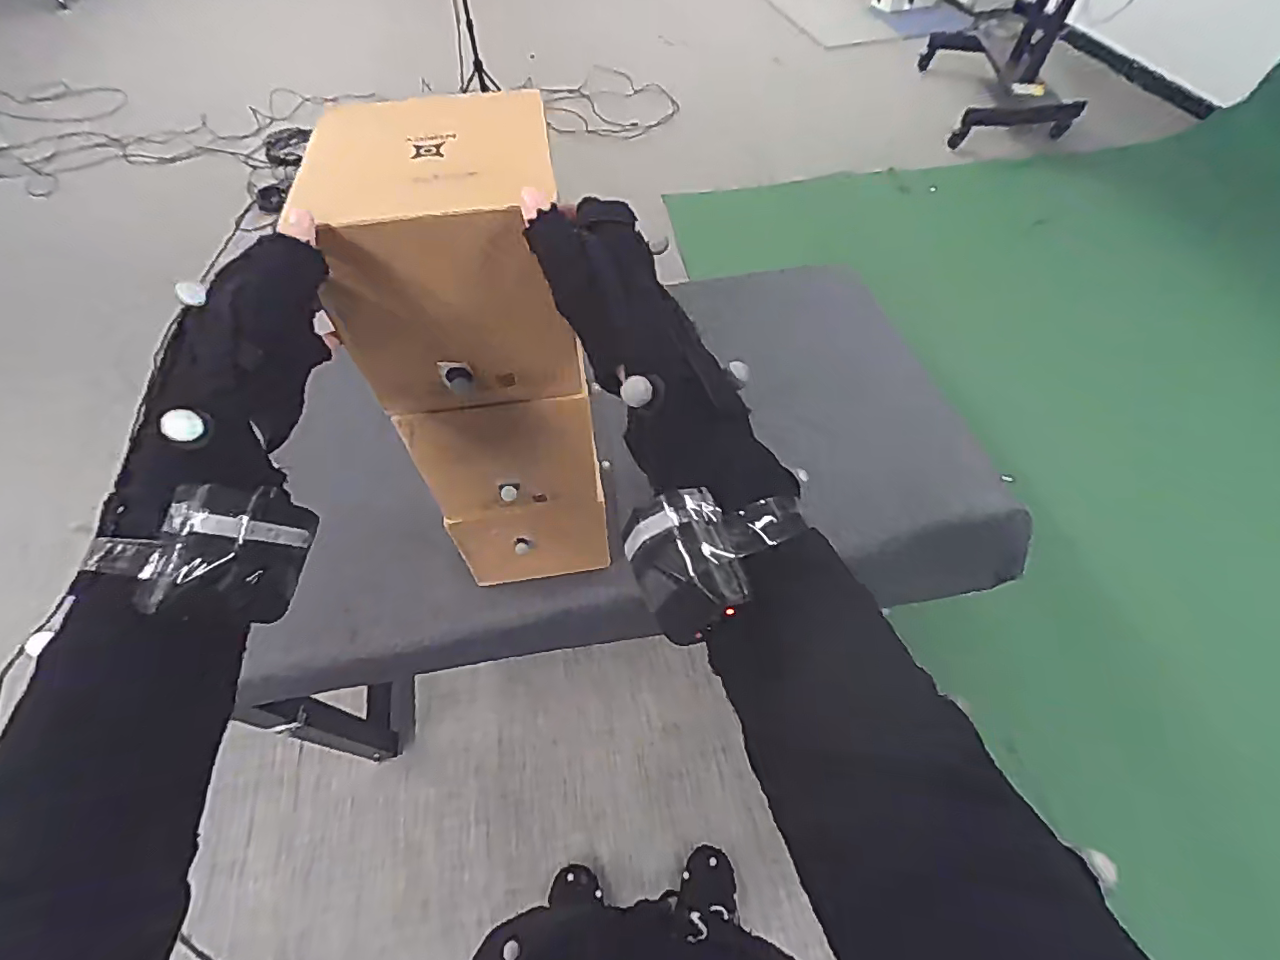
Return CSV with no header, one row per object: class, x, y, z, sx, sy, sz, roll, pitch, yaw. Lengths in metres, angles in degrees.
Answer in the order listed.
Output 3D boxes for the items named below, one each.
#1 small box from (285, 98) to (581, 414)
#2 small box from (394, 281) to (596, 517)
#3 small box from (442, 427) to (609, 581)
small box,-0.141,-0.177,0.437,0.168,0.176,0.179,-7,55,-5
small box,-0.137,-0.082,0.569,0.168,0.176,0.179,-6,56,-5
small box,-0.139,0.017,0.701,0.179,0.176,0.168,-7,56,-5
